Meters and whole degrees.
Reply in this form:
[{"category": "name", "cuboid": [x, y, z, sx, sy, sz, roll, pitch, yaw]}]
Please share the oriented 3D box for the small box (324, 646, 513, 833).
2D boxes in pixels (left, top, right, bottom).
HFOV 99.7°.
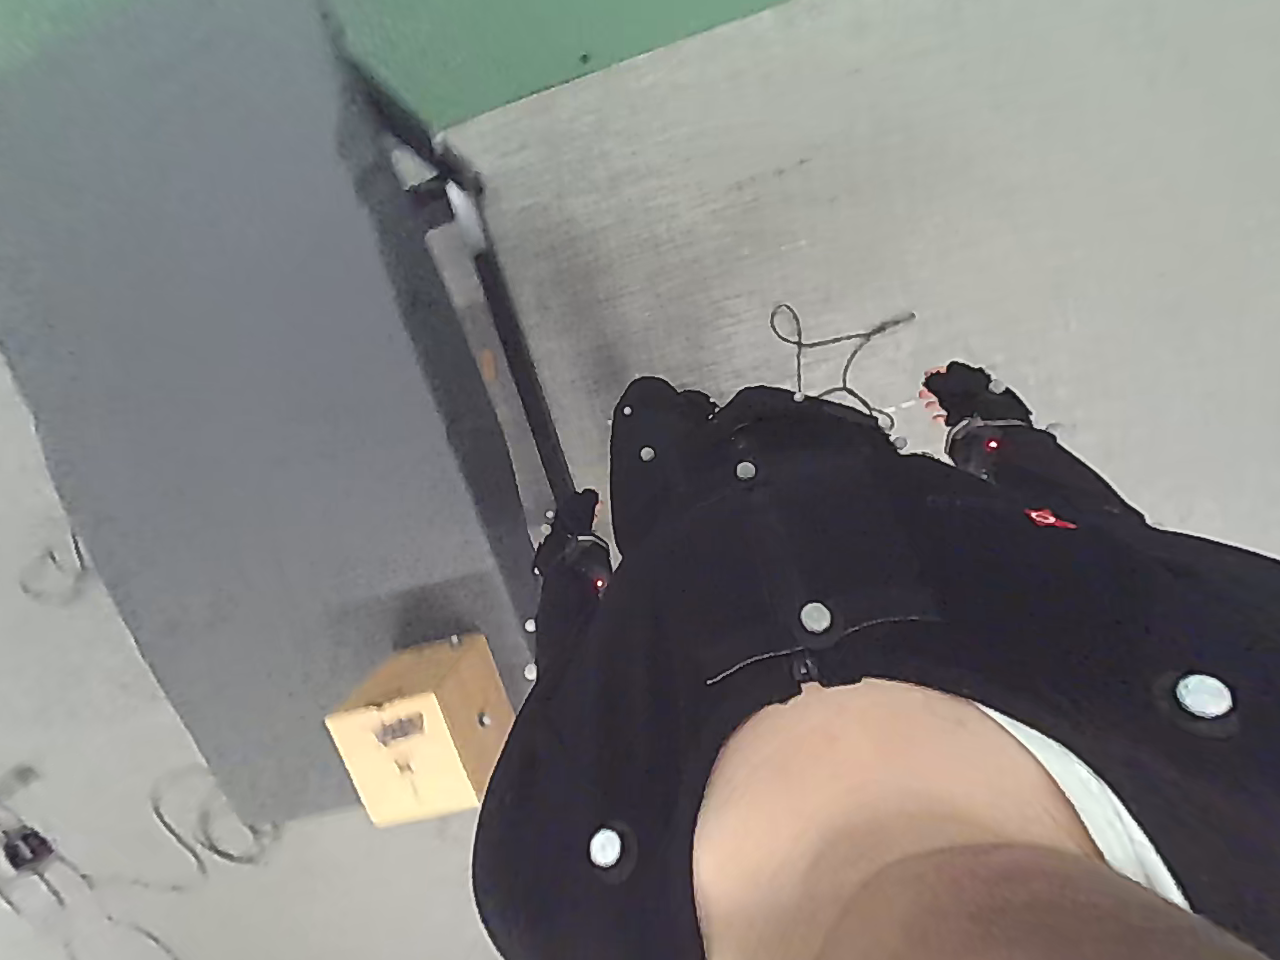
[{"category": "small box", "cuboid": [-0.309, 0.364, 0.791, 0.168, 0.176, 0.179, -16, 100, 8]}]
